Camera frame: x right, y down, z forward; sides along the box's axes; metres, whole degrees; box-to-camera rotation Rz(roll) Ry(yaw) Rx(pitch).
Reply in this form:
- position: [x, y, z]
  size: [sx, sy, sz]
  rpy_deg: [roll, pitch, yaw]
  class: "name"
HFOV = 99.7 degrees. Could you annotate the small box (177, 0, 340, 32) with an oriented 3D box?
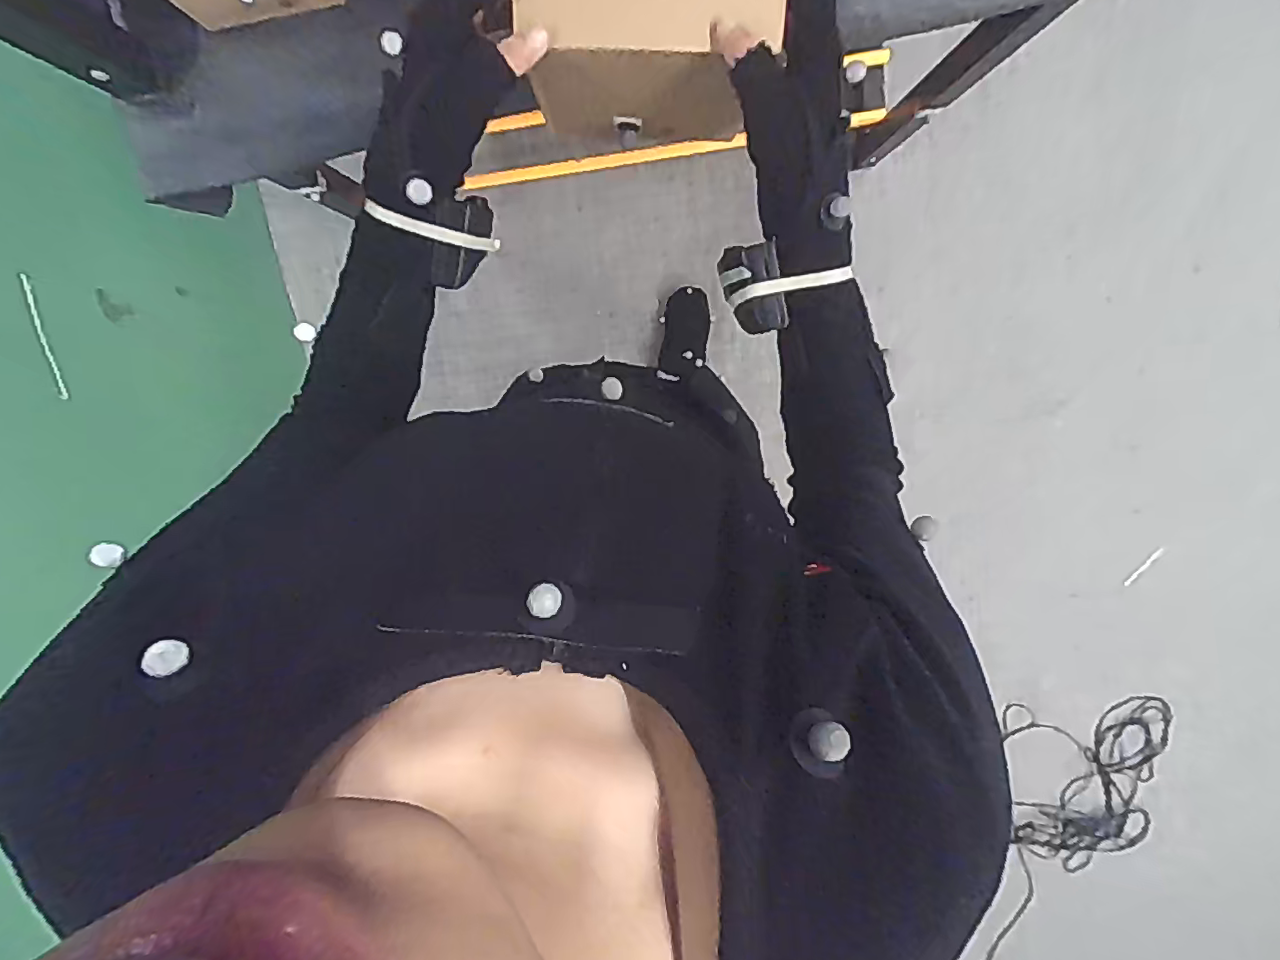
- position: [-0.425, -0.586, 0.516]
  size: [0.168, 0.176, 0.179]
  rpy_deg: [-10, 102, 2]
  class: "small box"
